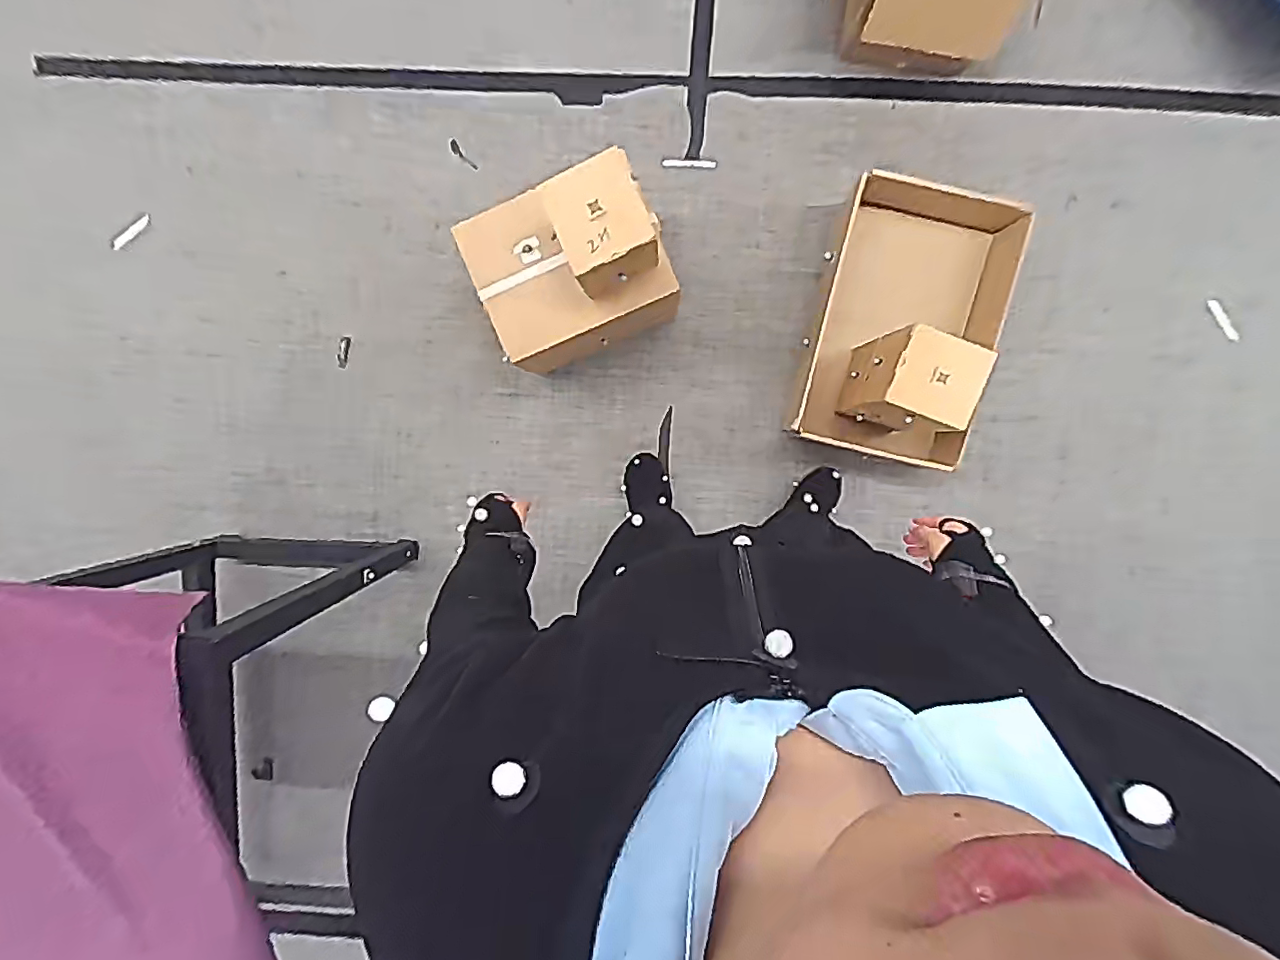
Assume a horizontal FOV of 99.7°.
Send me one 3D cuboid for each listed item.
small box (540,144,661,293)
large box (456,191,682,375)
[{"bbox_3d":[-0.069,-0.487,1.035,0.168,0.176,0.179,-24,95,6],"label":"small box"},{"bbox_3d":[-0.143,-0.479,1.287,0.408,0.320,0.320,-23,94,5],"label":"large box"}]
